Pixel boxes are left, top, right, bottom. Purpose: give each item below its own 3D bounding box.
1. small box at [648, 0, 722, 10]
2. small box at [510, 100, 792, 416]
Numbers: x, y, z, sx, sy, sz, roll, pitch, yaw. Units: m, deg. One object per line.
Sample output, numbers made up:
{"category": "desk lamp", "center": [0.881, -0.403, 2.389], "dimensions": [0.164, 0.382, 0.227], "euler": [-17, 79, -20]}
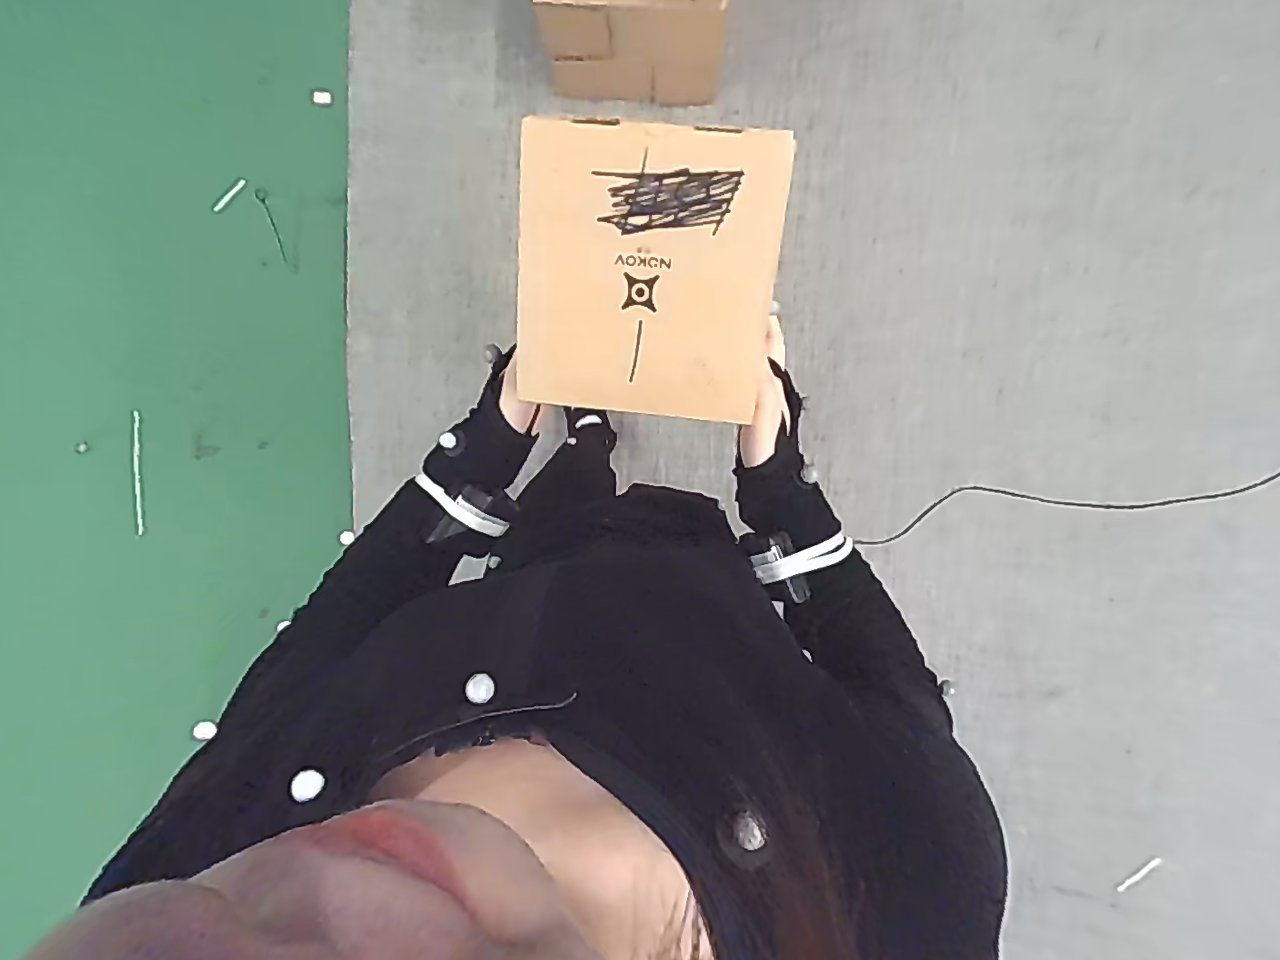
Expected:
{"category": "small box", "center": [0.091, -1.041, 1.008], "dimensions": [0.168, 0.176, 0.179], "euler": [8, 92, 3]}
{"category": "small box", "center": [0.008, -0.158, 0.421], "dimensions": [0.168, 0.176, 0.179], "euler": [8, 107, 5]}
